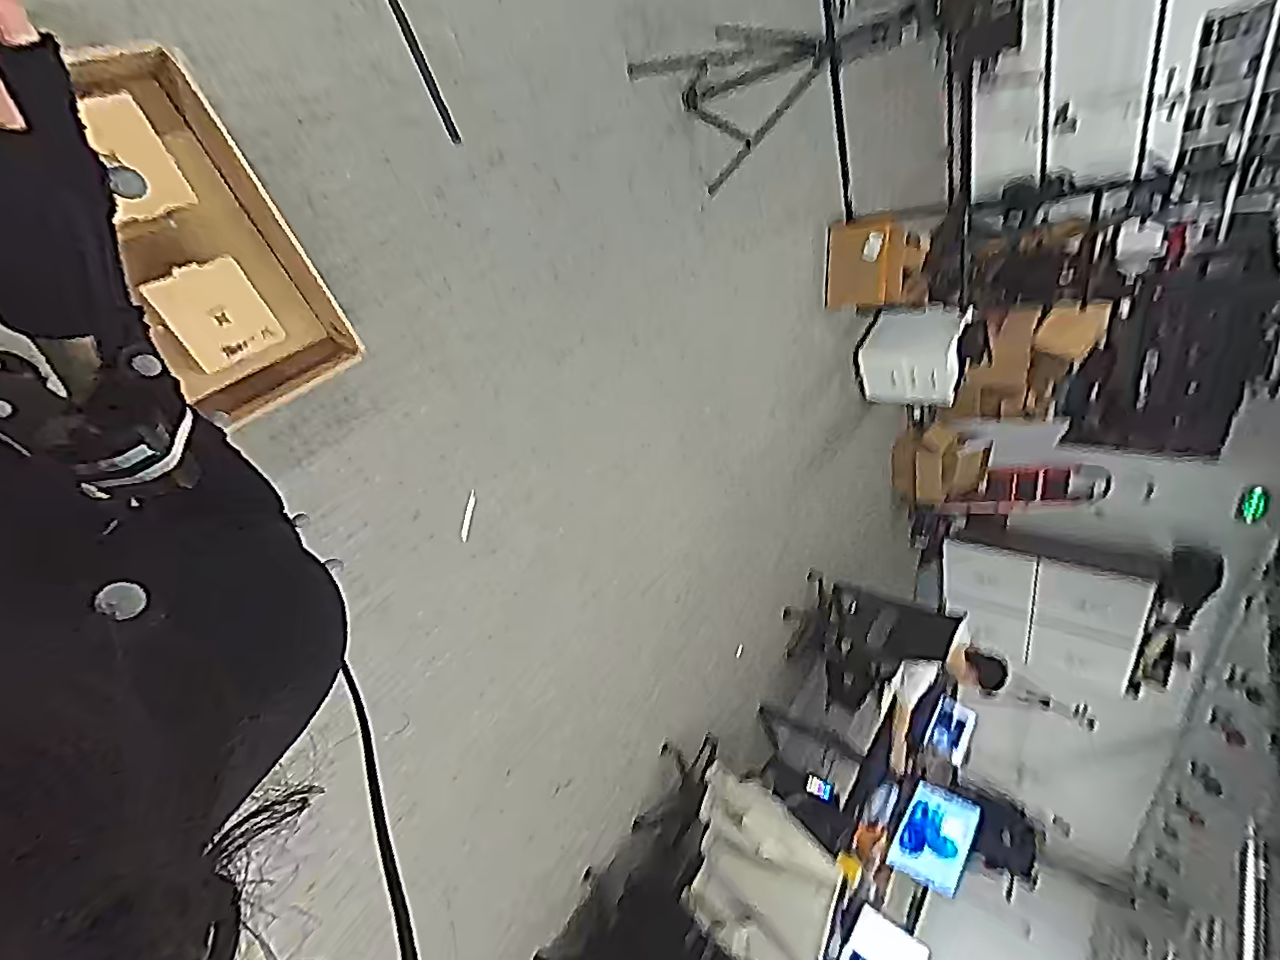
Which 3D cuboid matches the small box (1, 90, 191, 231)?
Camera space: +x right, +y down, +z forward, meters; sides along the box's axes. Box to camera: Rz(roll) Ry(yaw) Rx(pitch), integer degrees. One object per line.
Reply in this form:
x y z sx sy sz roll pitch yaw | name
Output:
-0.952 -0.555 0.957 0.168 0.176 0.179 -41 127 -34 | small box

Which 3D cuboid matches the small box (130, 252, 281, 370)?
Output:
-0.881 -0.335 1.094 0.168 0.176 0.179 -42 125 -32 | small box
